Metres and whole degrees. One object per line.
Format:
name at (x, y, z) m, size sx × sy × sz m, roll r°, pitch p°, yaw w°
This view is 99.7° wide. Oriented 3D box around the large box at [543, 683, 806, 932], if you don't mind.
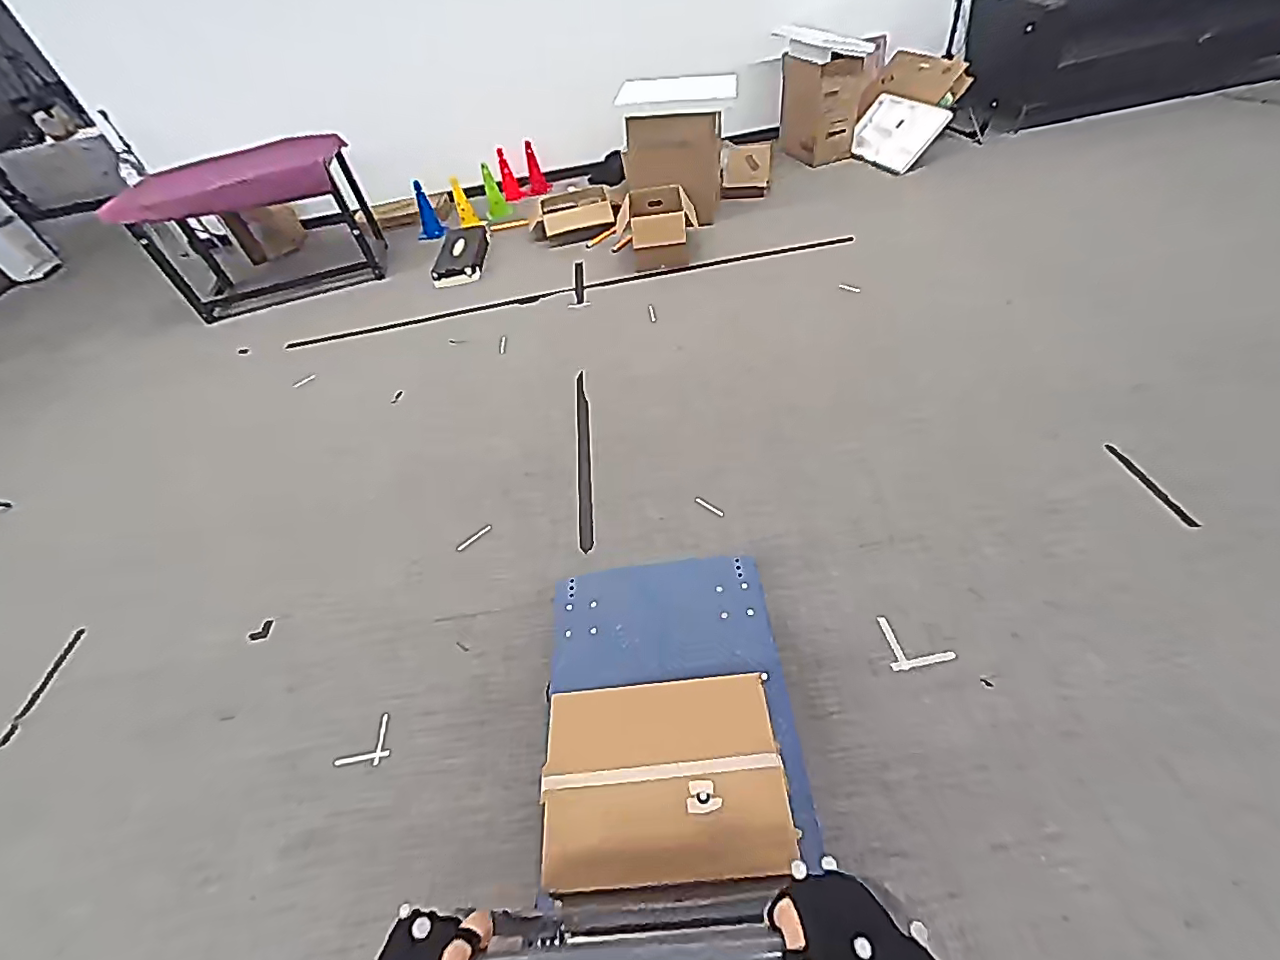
large box at (0.054, 0.613, 1.009) m, size 0.408 × 0.320 × 0.320 m, roll -7°, pitch 47°, yaw 2°
